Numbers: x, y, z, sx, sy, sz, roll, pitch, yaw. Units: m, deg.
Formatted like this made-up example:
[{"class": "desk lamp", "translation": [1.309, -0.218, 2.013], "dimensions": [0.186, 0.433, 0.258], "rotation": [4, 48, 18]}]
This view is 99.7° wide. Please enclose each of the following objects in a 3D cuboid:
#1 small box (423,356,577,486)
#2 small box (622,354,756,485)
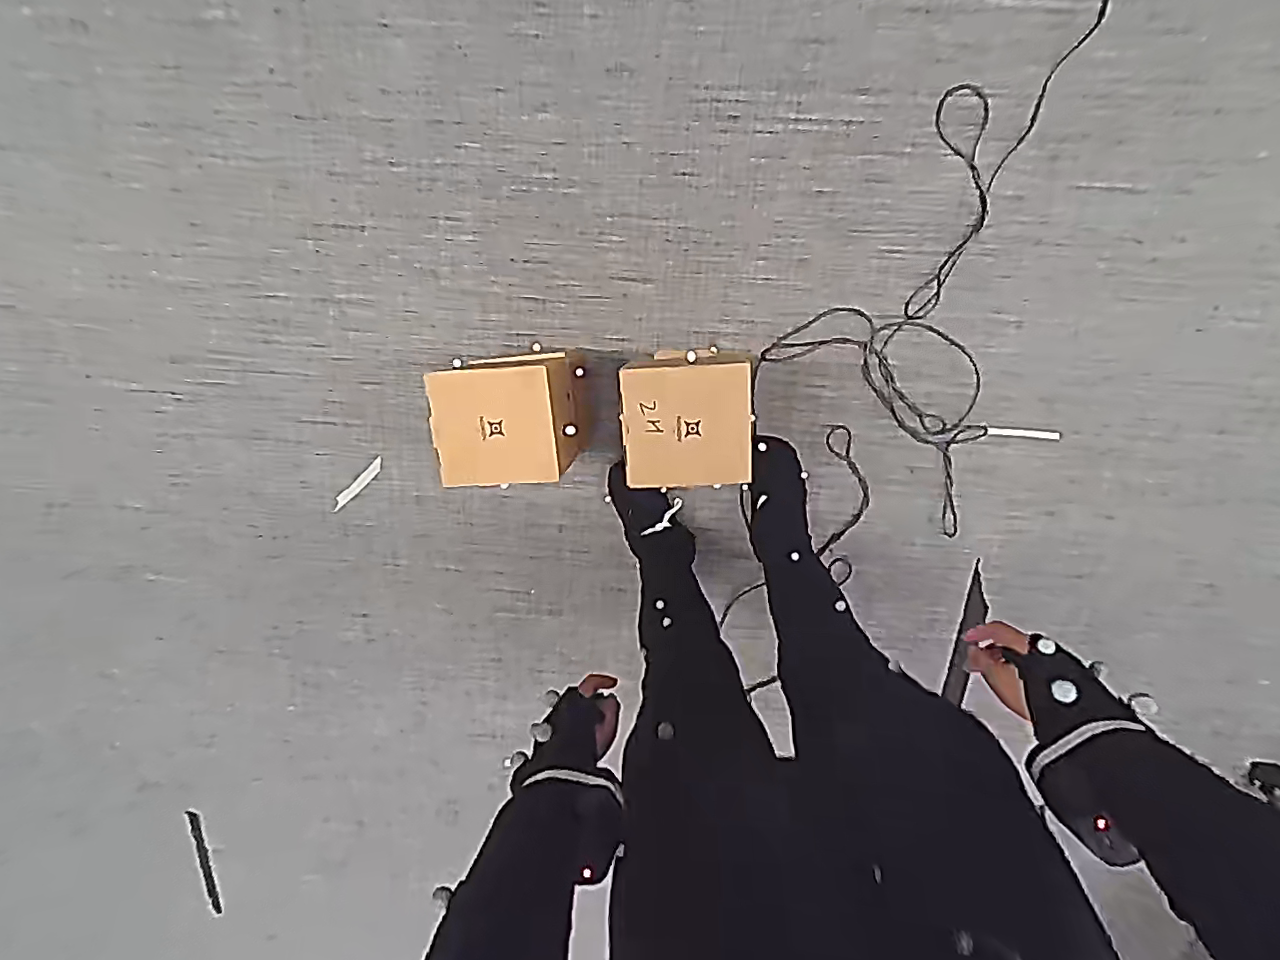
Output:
[{"class": "small box", "translation": [-0.197, -0.096, 0.821], "dimensions": [0.179, 0.176, 0.168], "rotation": [-3, 106, 6]}, {"class": "small box", "translation": [0.072, -0.096, 0.798], "dimensions": [0.179, 0.176, 0.168], "rotation": [-2, 106, 5]}]
